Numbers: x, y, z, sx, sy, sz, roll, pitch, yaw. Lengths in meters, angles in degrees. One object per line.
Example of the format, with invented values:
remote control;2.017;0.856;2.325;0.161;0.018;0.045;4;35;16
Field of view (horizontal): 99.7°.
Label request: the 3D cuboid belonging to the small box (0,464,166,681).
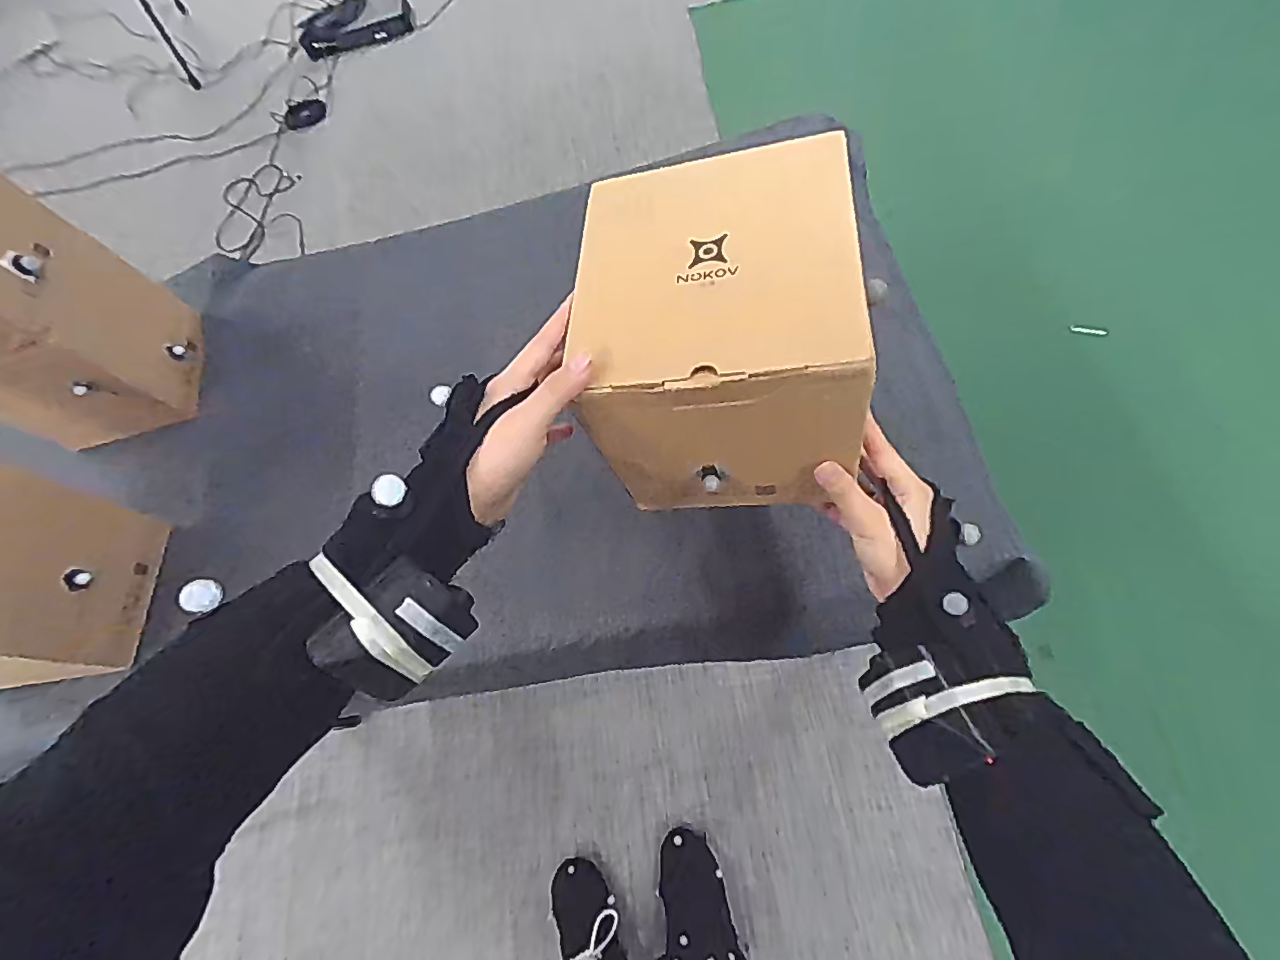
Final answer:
small box;-0.641;0.102;0.543;0.179;0.176;0.168;-10;64;6
